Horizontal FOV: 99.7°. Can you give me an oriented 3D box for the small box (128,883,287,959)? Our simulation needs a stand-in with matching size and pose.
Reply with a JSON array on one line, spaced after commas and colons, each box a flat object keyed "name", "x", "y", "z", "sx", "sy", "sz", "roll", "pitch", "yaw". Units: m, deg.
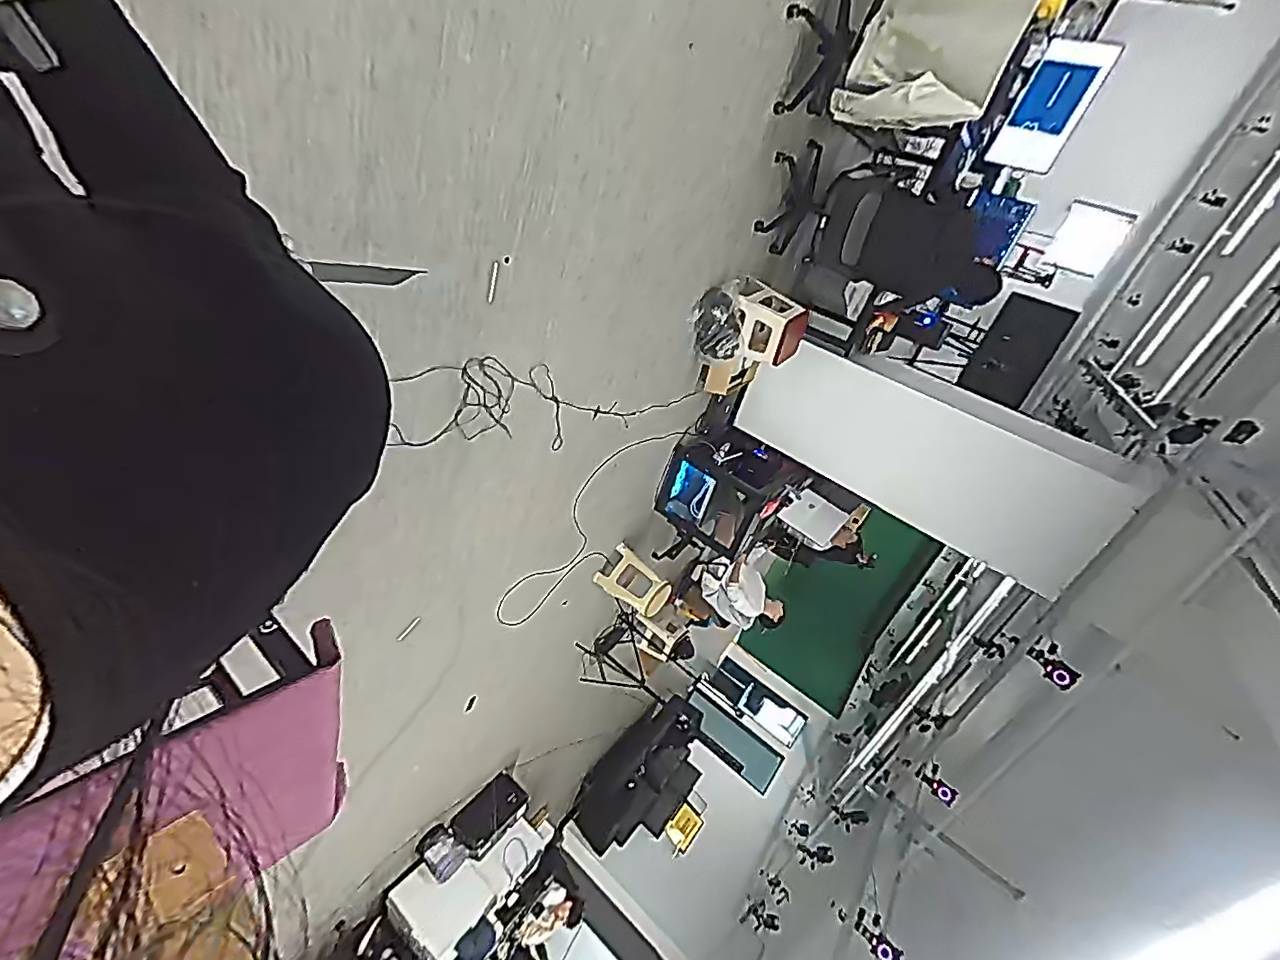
[{"name": "small box", "x": -0.731, "y": 0.845, "z": 0.920, "sx": 0.168, "sy": 0.176, "sz": 0.179, "roll": -24, "pitch": 141, "yaw": -52}]

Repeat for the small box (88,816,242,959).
[{"name": "small box", "x": -0.855, "y": 0.759, "z": 0.983, "sx": 0.168, "sy": 0.176, "sz": 0.179, "roll": -23, "pitch": 139, "yaw": -53}]
